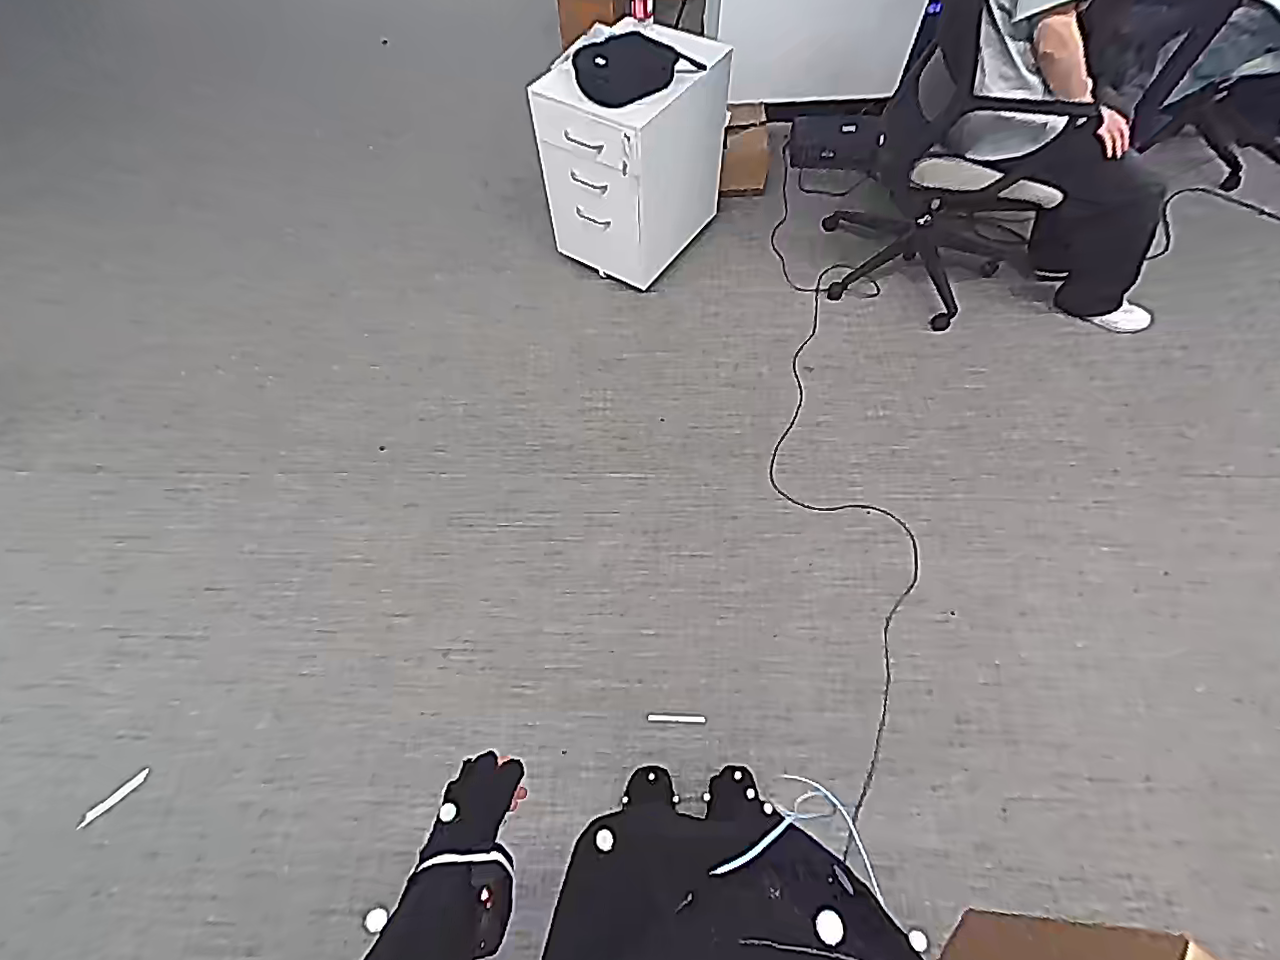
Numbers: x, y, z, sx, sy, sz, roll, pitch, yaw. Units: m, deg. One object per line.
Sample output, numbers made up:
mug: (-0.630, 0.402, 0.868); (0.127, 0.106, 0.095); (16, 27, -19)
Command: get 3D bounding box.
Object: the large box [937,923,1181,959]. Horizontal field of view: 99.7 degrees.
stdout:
large box: (0.511, 0.754, 0.569); (0.320, 0.408, 0.320); (-35, 63, -25)
